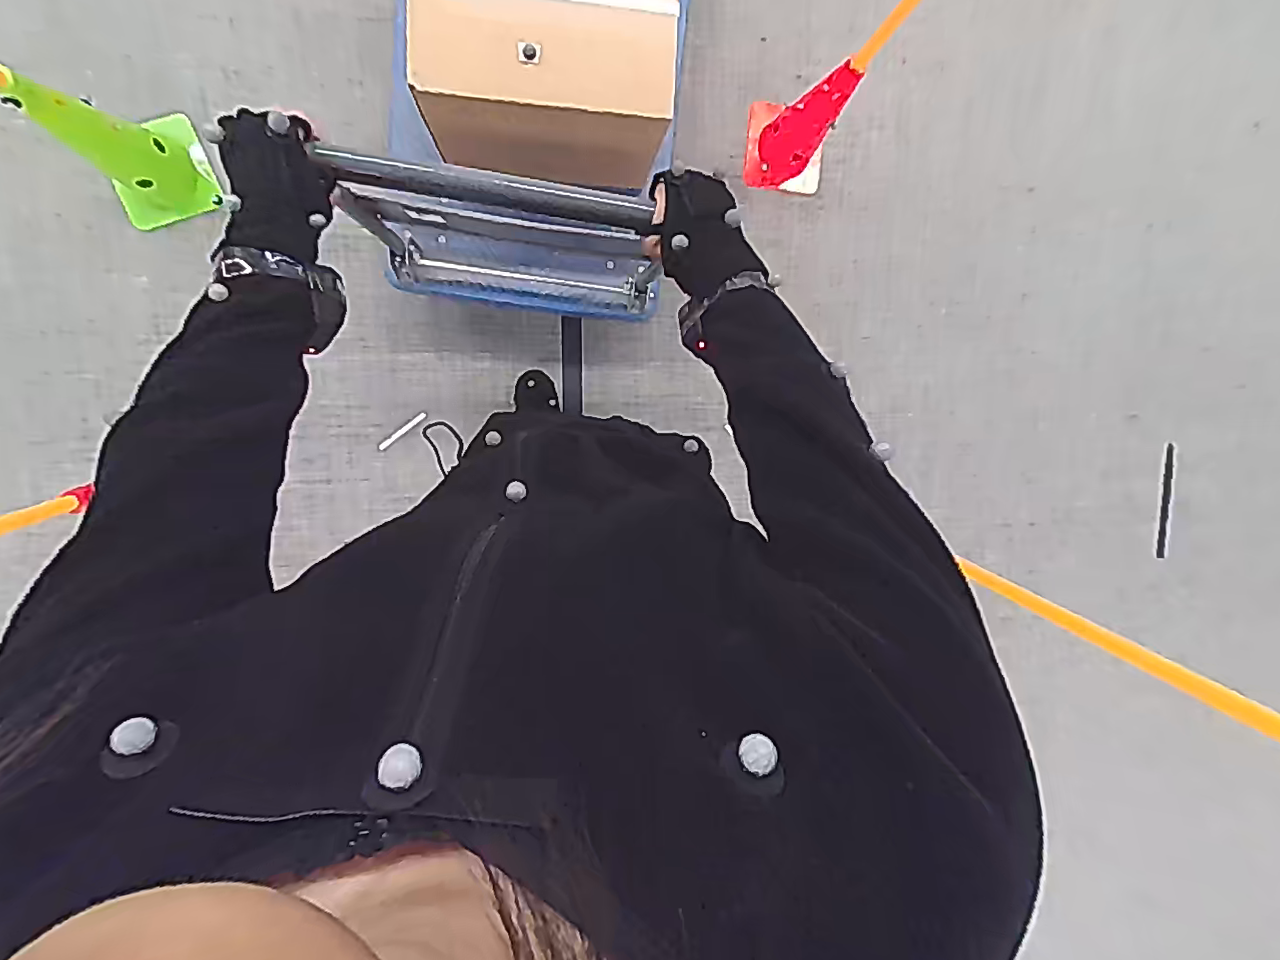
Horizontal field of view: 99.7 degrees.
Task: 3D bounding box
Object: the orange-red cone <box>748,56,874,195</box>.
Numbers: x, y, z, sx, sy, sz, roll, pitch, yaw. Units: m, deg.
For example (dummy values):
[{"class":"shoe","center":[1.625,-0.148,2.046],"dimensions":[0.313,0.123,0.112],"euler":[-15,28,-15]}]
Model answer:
[{"class":"orange-red cone","center":[0.405,-0.815,1.202],"dimensions":[0.199,0.360,0.198],"euler":[5,97,-10]}]
